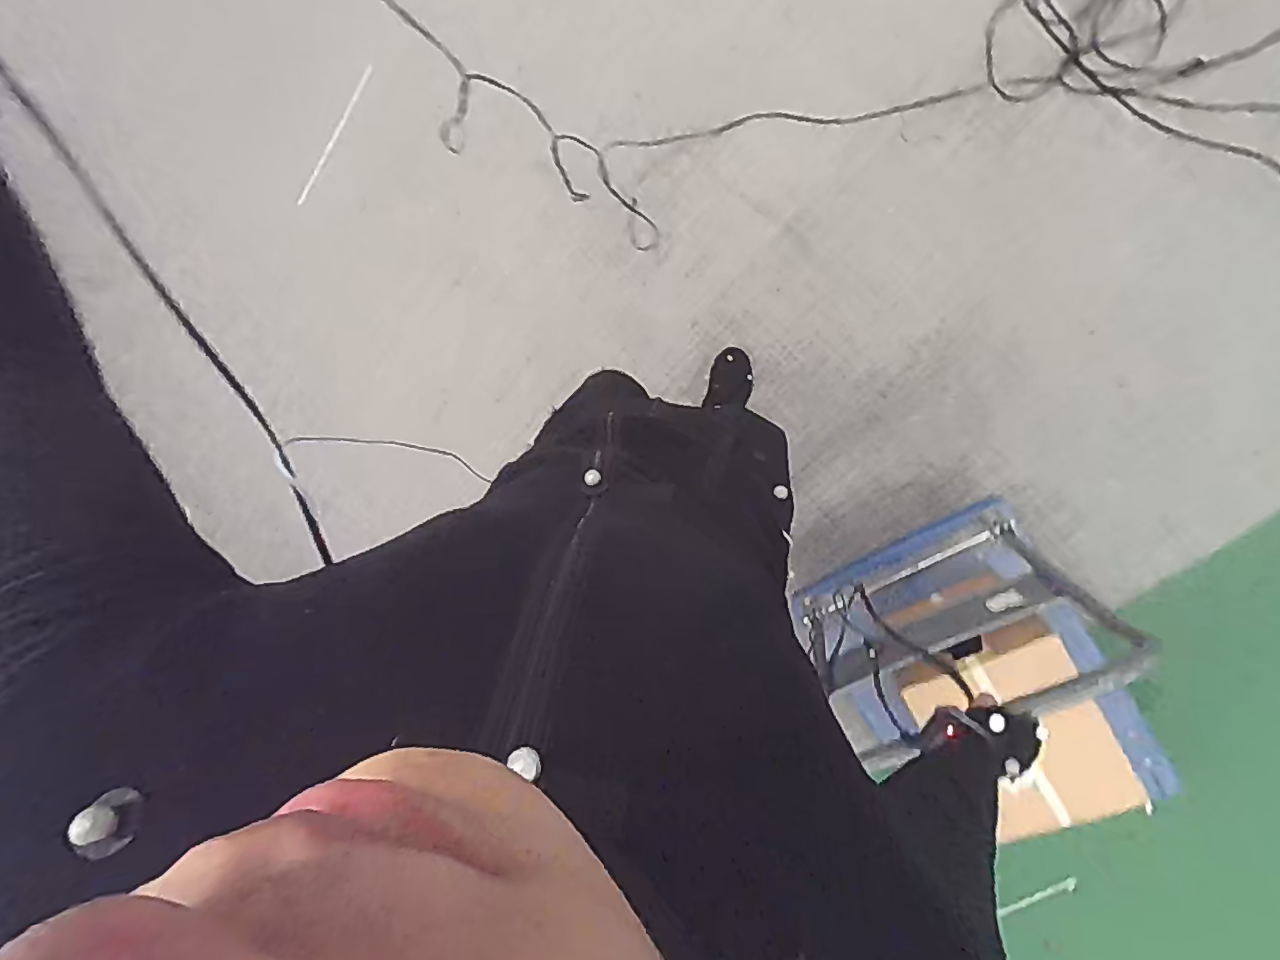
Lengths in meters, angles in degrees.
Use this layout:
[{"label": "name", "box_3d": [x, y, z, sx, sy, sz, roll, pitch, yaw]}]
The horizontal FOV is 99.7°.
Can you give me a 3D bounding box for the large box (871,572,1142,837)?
[{"label": "large box", "box_3d": [0.791, 0.491, 1.233, 0.320, 0.320, 0.408, -30, 96, 19]}]
